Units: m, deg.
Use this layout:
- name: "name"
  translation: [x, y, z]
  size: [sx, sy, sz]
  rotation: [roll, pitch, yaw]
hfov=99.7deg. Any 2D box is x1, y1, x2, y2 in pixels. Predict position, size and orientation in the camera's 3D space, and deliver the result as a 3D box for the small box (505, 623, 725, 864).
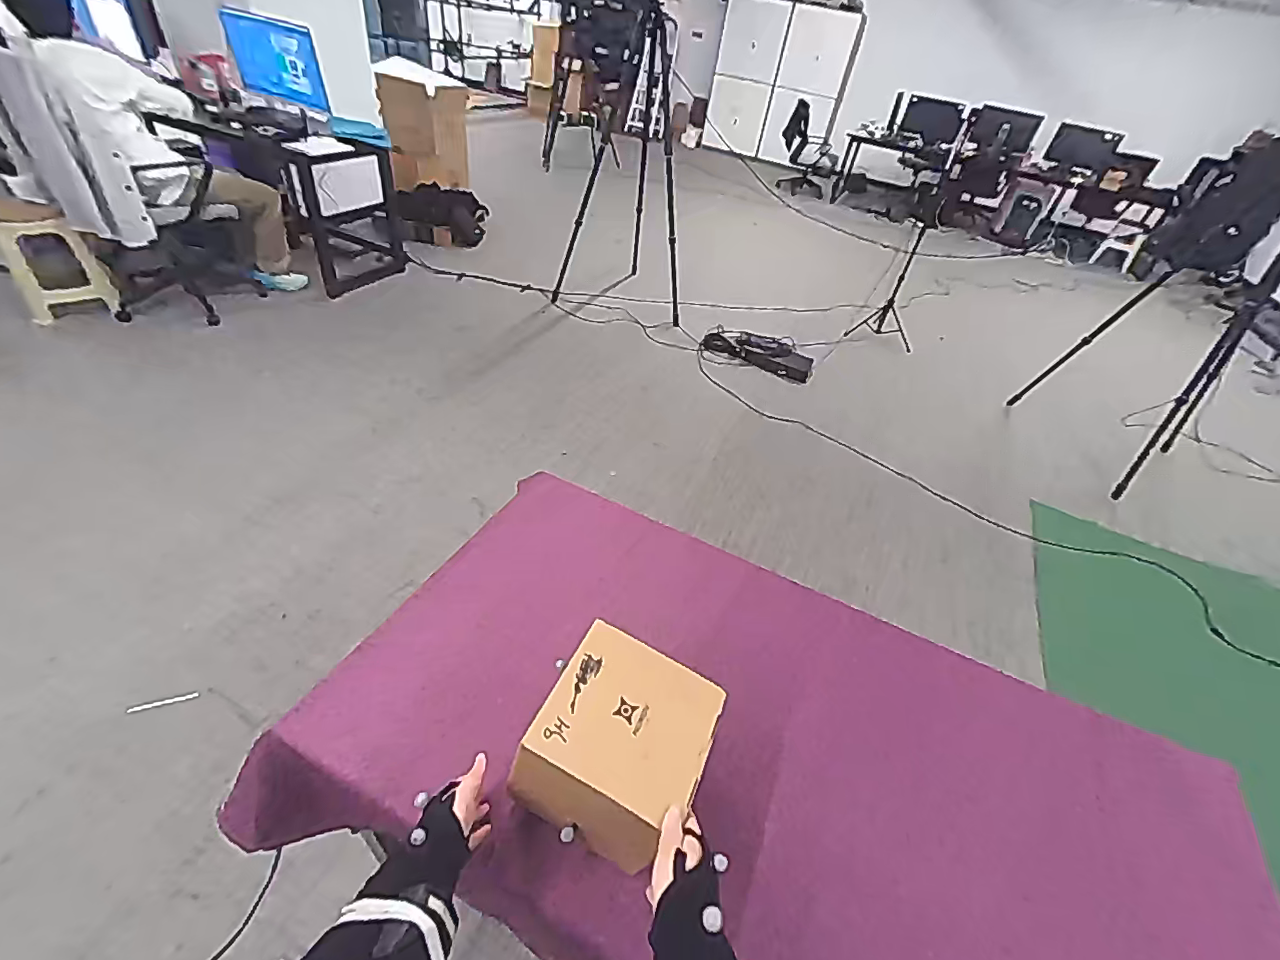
- name: "small box"
  translation: [-0.032, 0.308, 0.626]
  size: [0.179, 0.176, 0.168]
  rotation: [29, 42, 7]
